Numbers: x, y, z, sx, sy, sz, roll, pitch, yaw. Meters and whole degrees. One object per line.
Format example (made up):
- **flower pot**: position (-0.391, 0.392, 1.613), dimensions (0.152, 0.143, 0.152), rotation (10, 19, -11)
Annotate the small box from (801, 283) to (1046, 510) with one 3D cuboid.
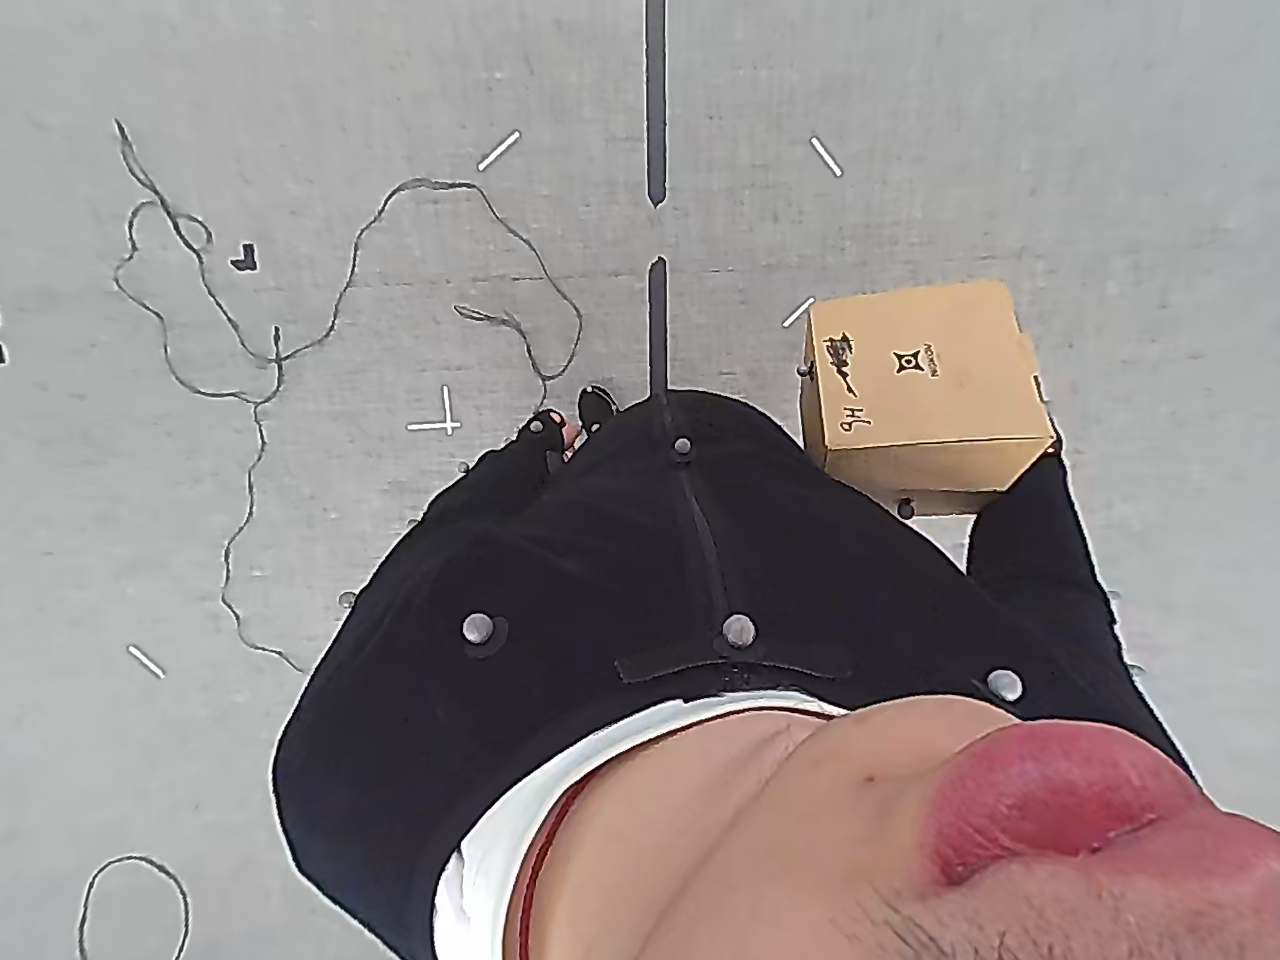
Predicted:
- **small box**: position (0.268, -0.075, 0.562), dimensions (0.179, 0.176, 0.168), rotation (-3, 64, 12)
